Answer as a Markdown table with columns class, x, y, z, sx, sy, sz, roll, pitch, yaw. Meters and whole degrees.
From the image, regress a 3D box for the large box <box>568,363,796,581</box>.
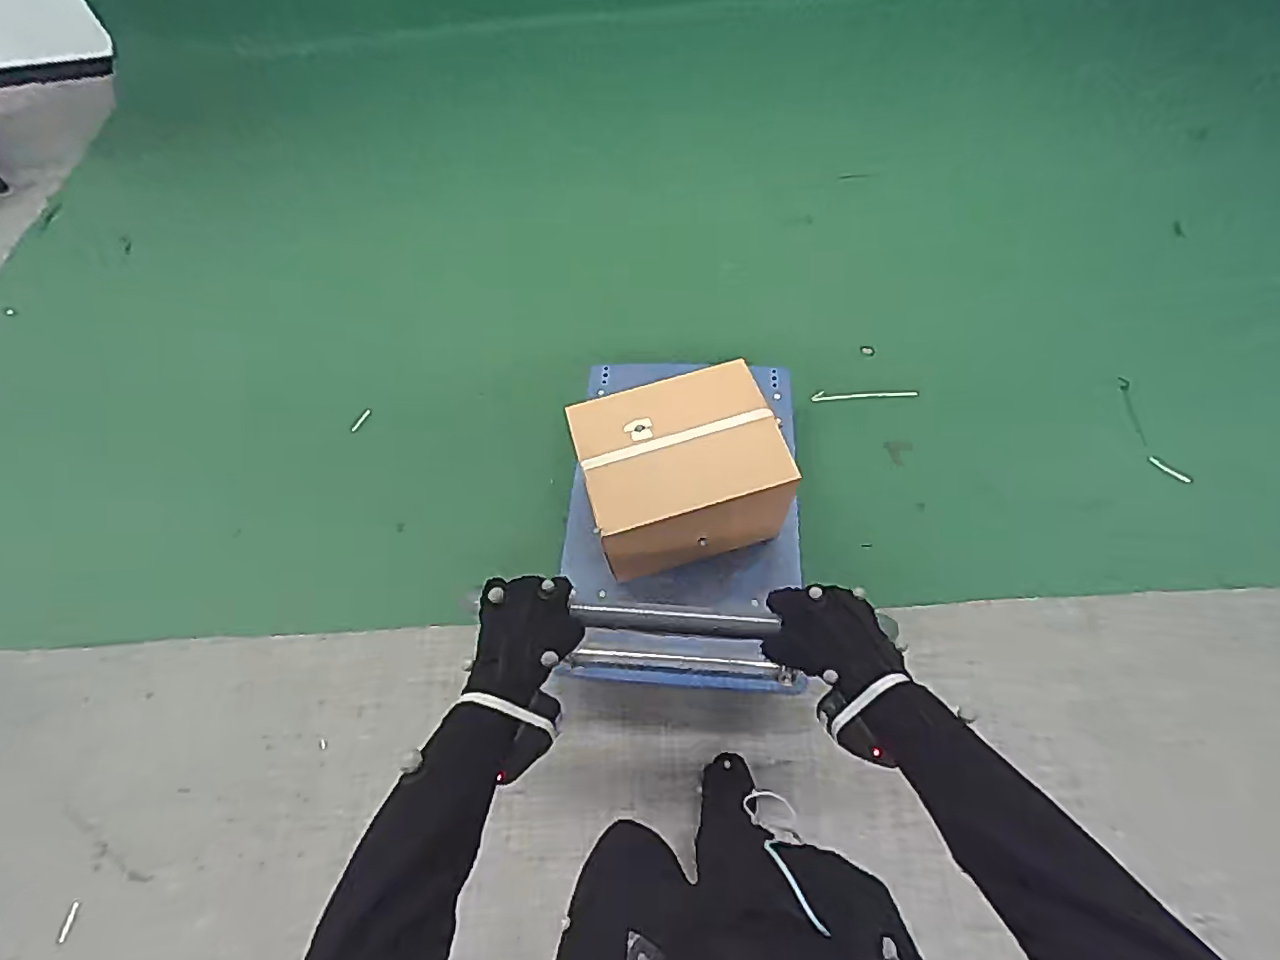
| class | x | y | z | sx | sy | sz | roll | pitch | yaw |
| --- | --- | --- | --- | --- | --- | --- | --- | --- | --- |
| large box | 0.089 | -0.006 | 1.241 | 0.408 | 0.320 | 0.320 | -17 | 62 | -3 |
